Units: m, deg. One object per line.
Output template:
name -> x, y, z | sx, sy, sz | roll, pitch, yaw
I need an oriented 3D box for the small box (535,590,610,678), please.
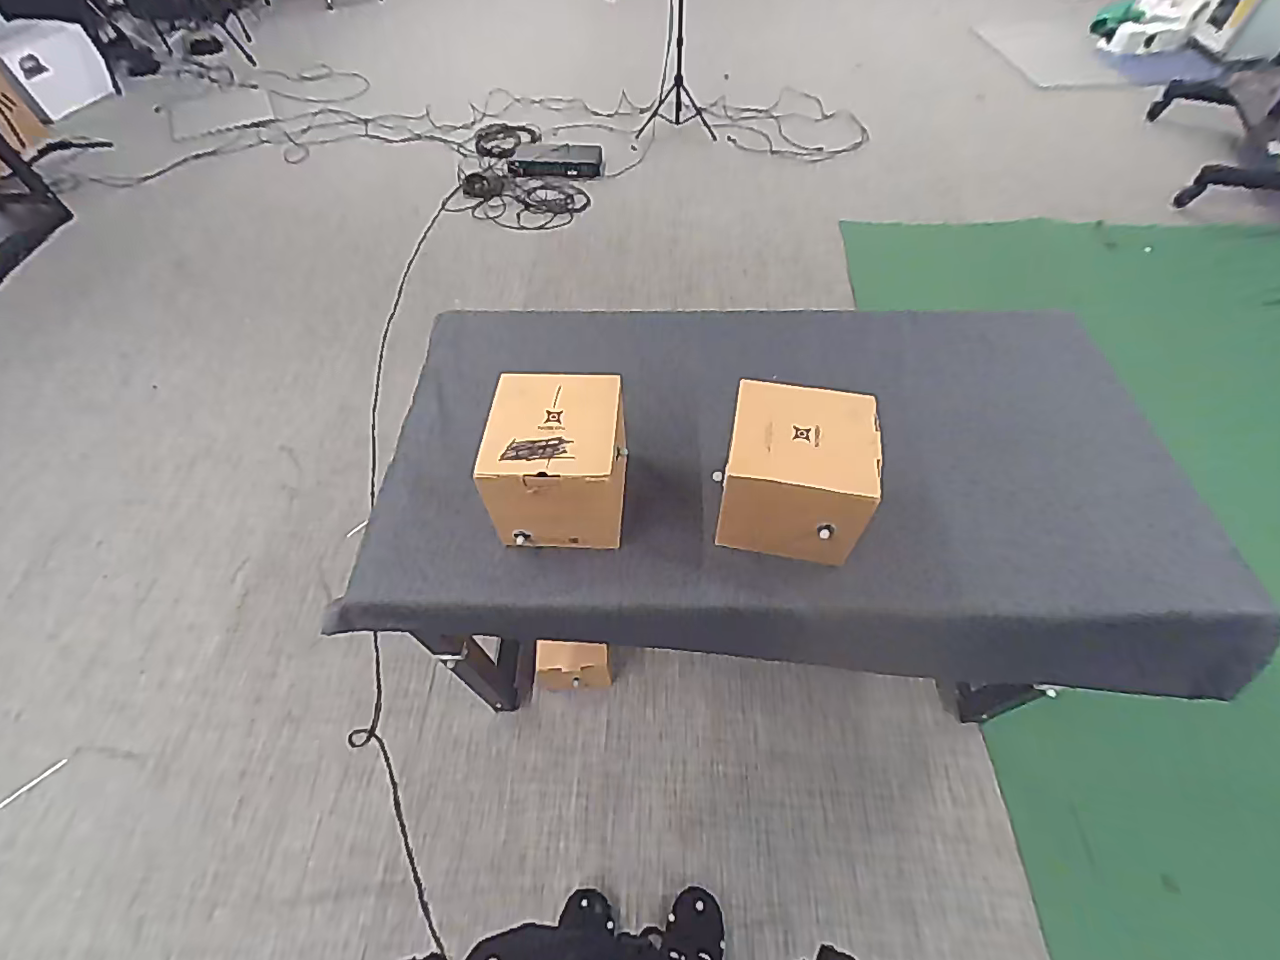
small box -> -0.162, 0.390, 1.353 | 0.168, 0.176, 0.179 | -2, 56, -1

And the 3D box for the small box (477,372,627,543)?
small box -> -0.107, -0.027, 0.751 | 0.168, 0.176, 0.179 | 3, 54, 3

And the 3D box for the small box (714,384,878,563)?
small box -> 0.204, -0.003, 0.733 | 0.179, 0.176, 0.168 | 9, 55, 8
